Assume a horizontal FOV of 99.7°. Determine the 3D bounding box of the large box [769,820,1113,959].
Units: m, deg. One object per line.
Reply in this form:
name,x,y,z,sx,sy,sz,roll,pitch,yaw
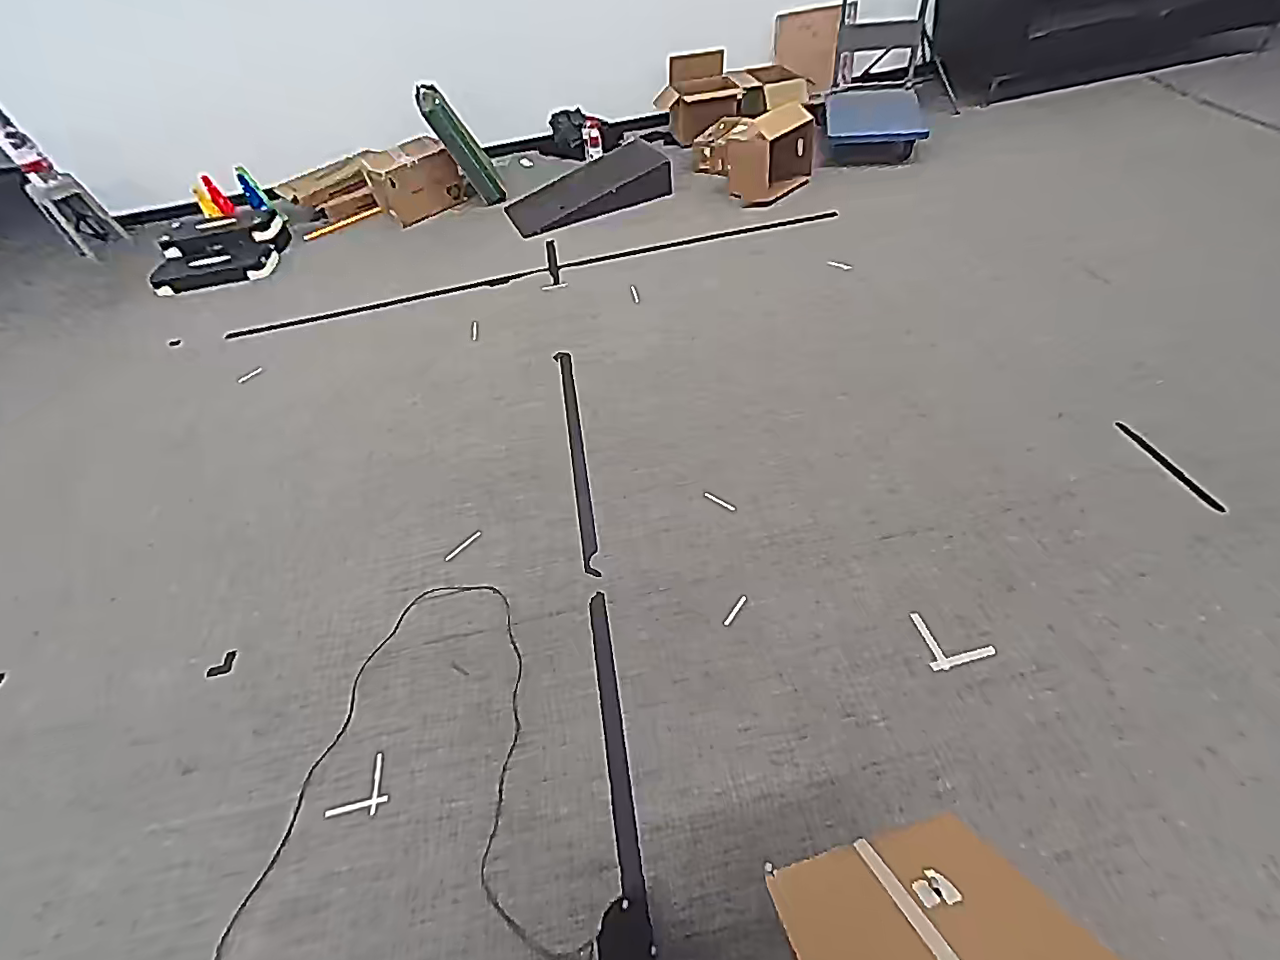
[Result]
large box,0.398,0.705,0.636,0.320,0.408,0.320,-15,86,-4
